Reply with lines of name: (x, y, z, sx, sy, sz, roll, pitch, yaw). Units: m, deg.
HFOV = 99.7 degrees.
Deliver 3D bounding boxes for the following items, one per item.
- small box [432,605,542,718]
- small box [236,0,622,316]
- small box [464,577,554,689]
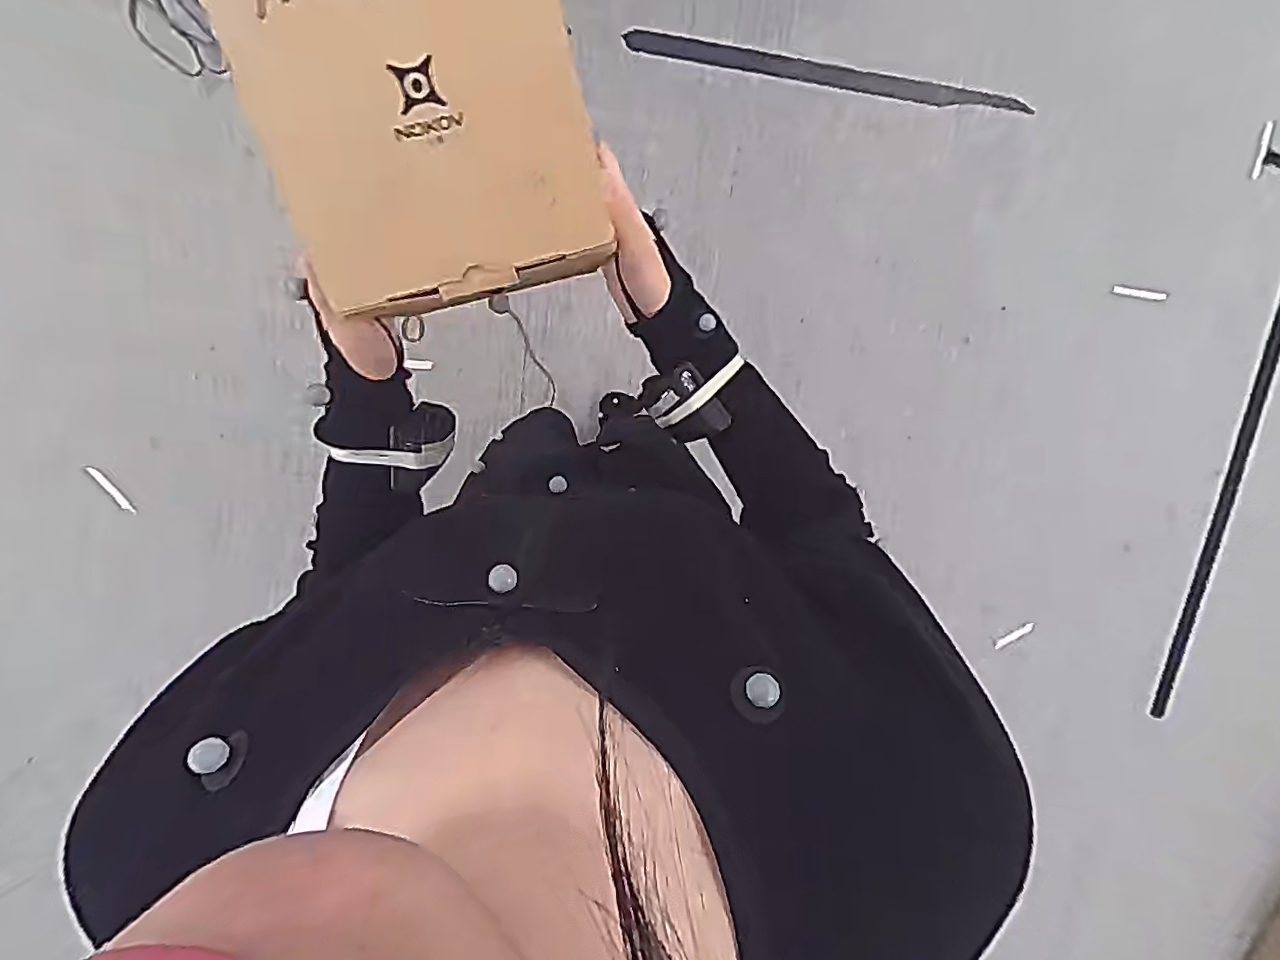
small box: (-0.278, 0.346, 1.008, 0.168, 0.176, 0.179, 3, 100, -1)
small box: (-0.114, -0.217, 0.363, 0.168, 0.176, 0.179, -14, 108, -4)
small box: (-0.280, 0.325, 1.169, 0.168, 0.176, 0.179, 4, 99, -3)
